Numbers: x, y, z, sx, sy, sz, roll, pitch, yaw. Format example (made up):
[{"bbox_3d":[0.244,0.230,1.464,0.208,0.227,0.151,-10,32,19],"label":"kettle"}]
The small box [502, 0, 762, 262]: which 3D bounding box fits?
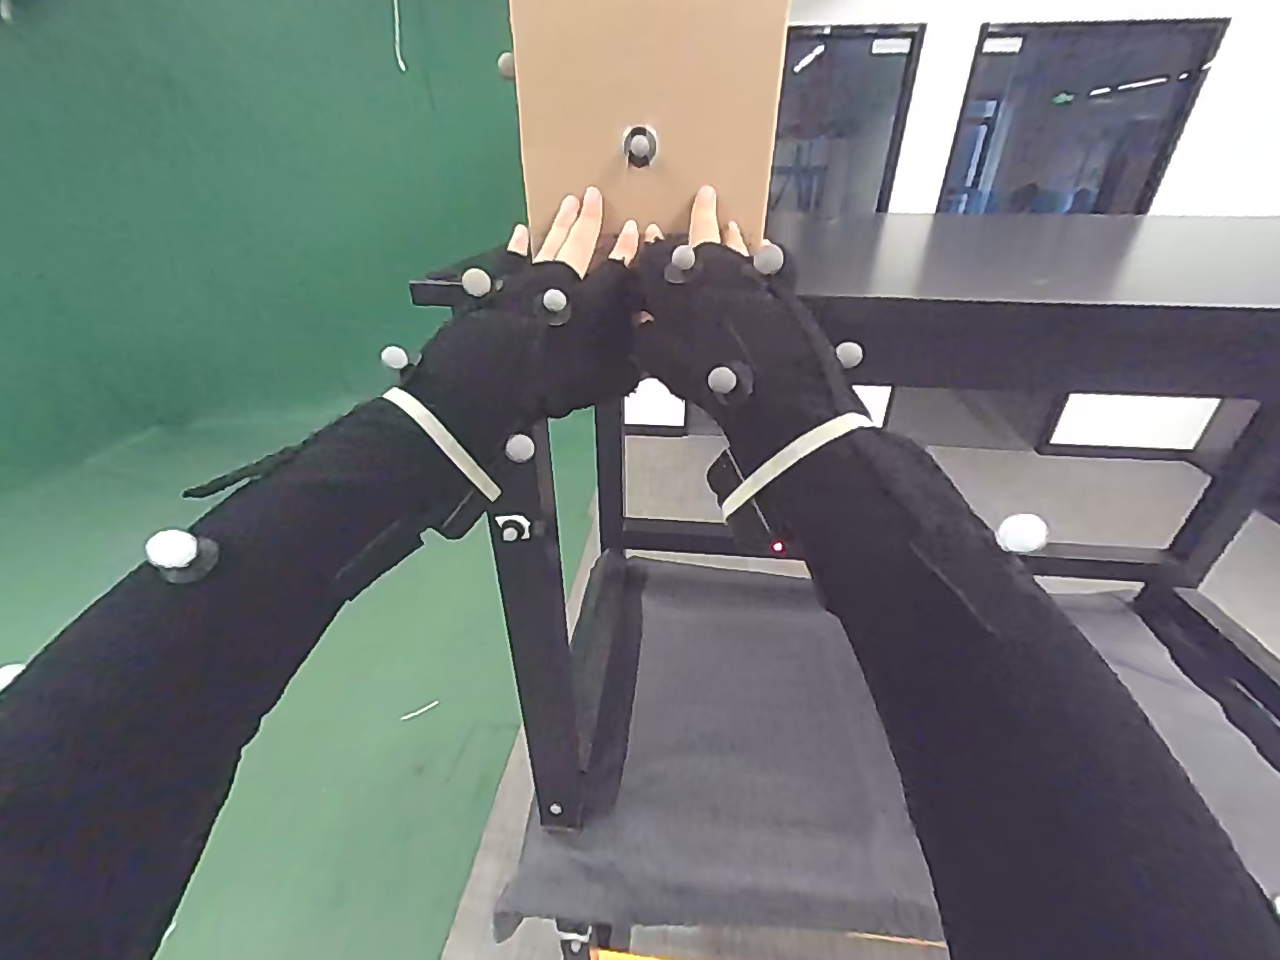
[{"bbox_3d":[-0.004,-0.276,0.437,0.168,0.176,0.179,0,30,-1],"label":"small box"}]
